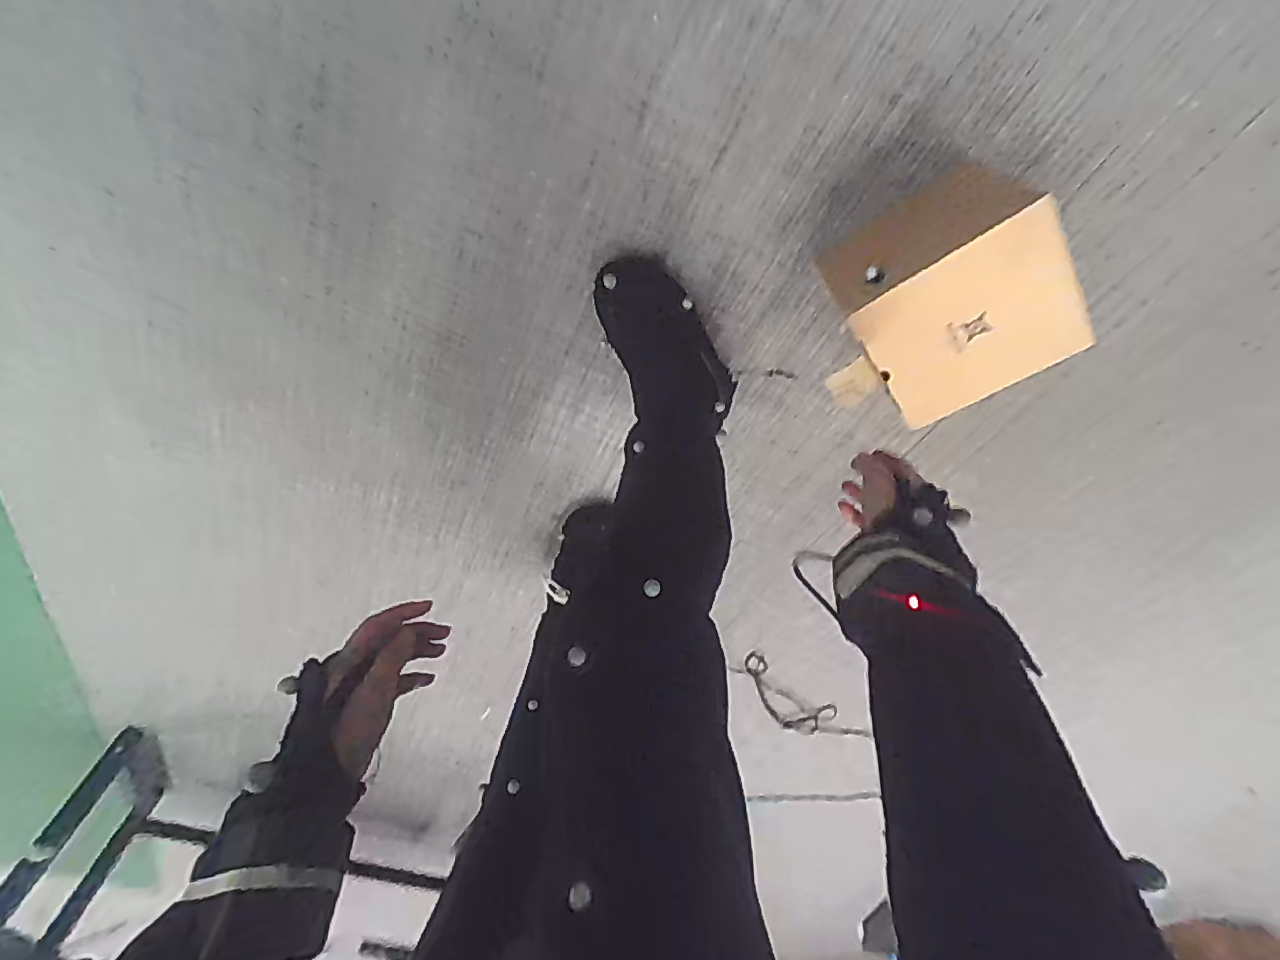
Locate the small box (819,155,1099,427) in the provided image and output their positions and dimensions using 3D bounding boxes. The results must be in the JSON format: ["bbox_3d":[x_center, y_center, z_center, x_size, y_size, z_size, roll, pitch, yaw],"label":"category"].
[{"bbox_3d":[0.312,-0.195,0.557,0.179,0.176,0.168,-30,122,27],"label":"small box"}]
